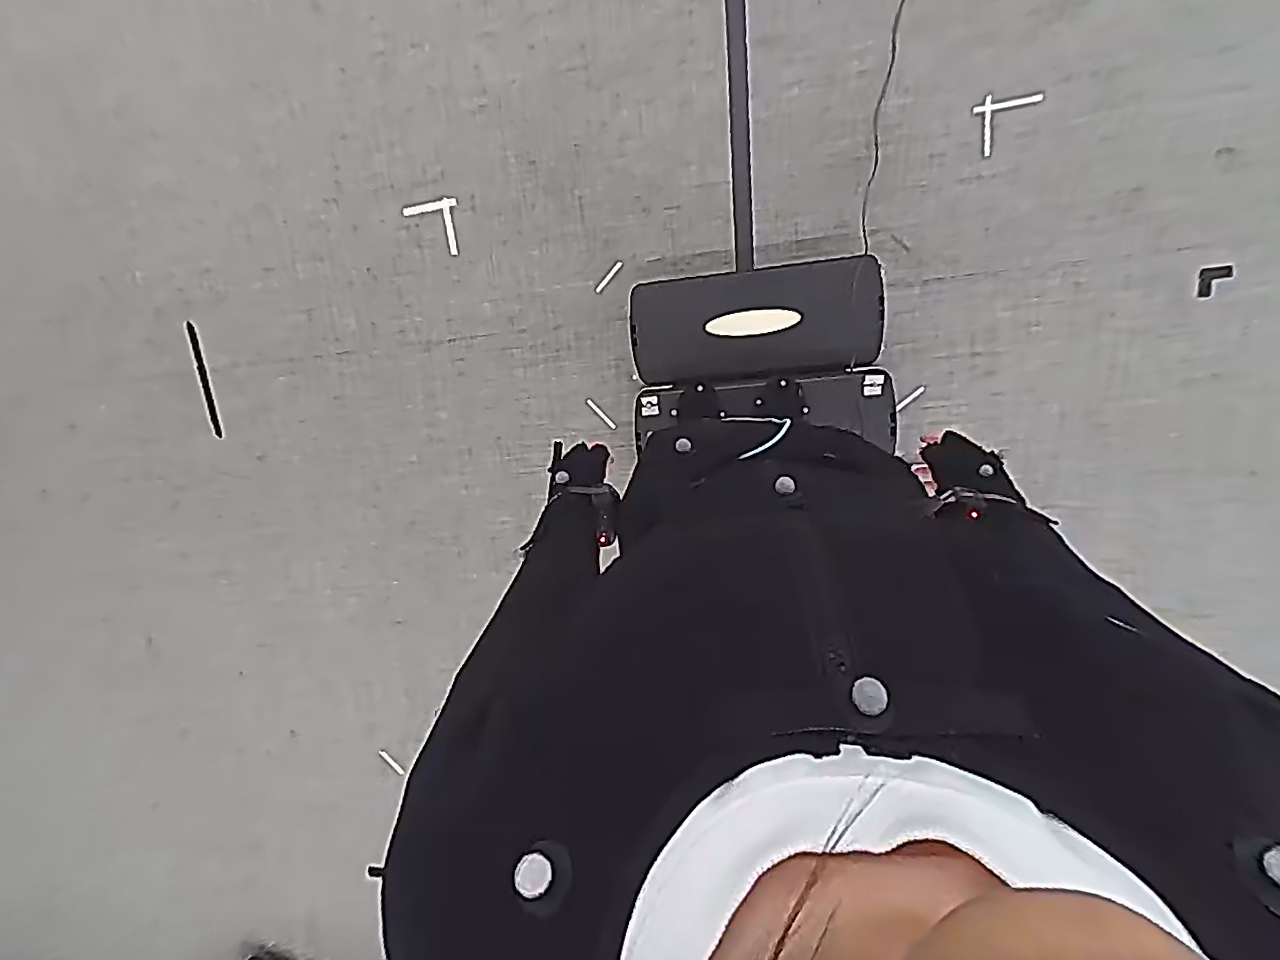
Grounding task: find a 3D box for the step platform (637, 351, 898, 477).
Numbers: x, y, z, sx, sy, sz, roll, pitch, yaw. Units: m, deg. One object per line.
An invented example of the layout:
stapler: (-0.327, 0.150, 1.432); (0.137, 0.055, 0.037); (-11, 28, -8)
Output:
step platform: (0.333, -0.176, 1.485); (0.684, 0.204, 0.286); (-4, 101, 12)
